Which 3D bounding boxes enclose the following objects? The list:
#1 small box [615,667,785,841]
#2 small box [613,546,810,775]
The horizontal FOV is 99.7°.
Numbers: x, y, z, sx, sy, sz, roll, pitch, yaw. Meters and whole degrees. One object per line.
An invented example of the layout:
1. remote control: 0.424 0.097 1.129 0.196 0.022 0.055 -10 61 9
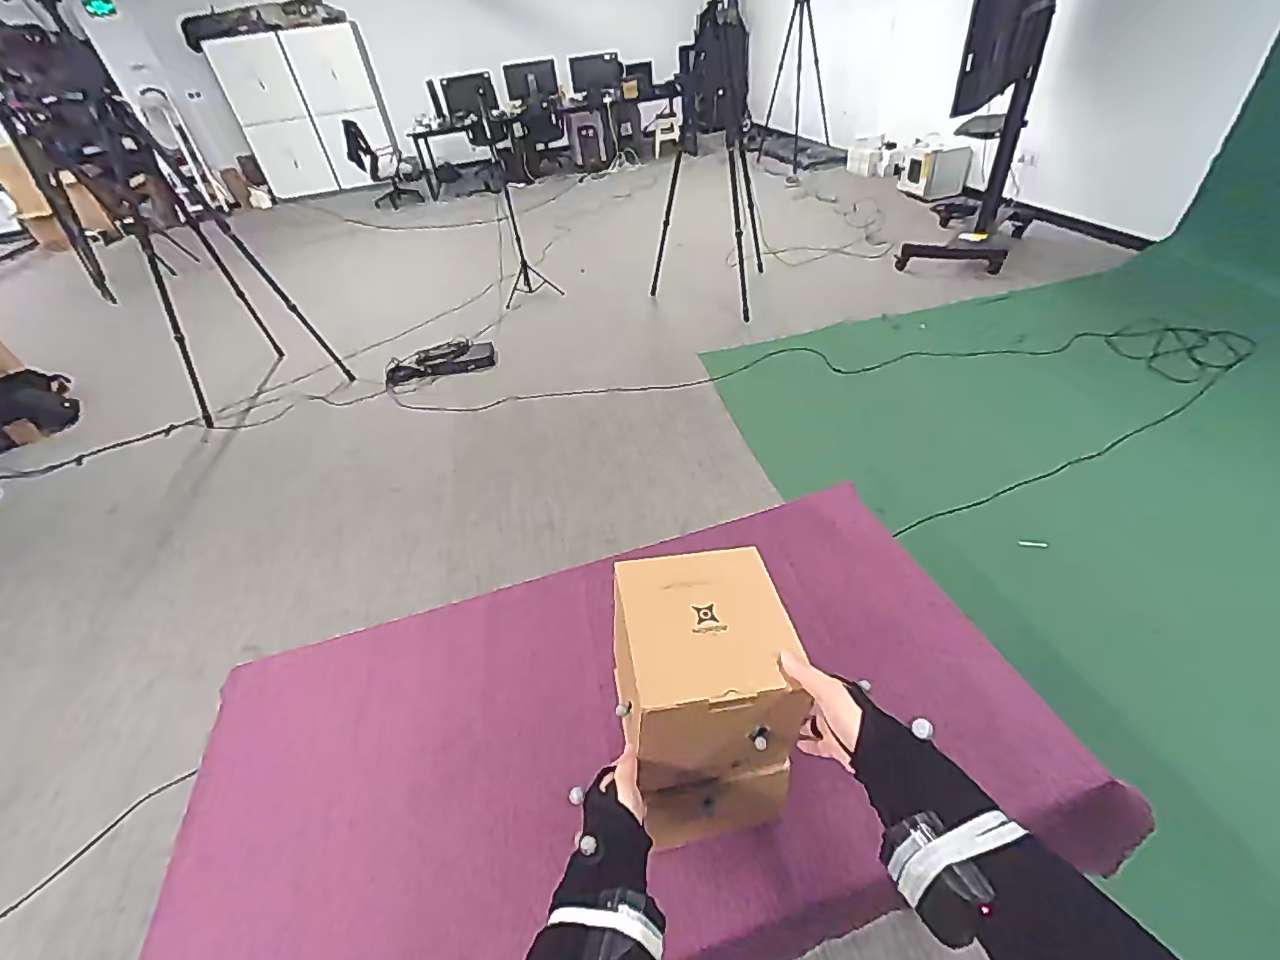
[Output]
1. small box: 0.075 0.336 0.698 0.179 0.176 0.168 -12 41 -3
2. small box: 0.064 0.199 0.594 0.168 0.176 0.179 -5 39 -8
